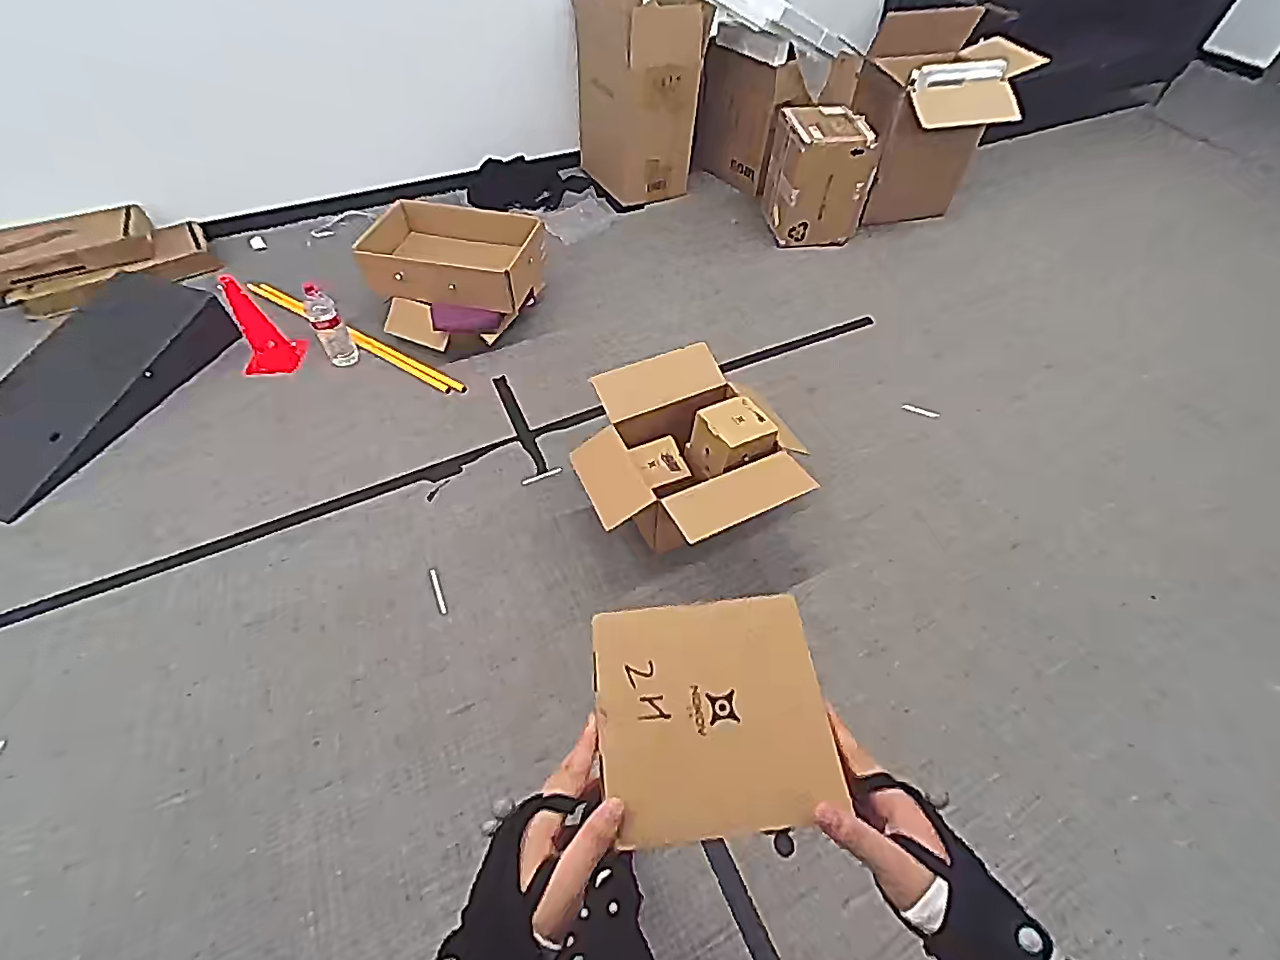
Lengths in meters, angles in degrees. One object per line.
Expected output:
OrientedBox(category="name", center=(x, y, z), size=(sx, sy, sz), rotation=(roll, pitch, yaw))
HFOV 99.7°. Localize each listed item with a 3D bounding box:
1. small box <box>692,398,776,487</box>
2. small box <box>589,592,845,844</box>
OrientedBox(category="small box", center=(0.266, -0.107, 1.588), size=(0.179, 0.176, 0.168), rotation=(-21, 55, -20))
OrientedBox(category="small box", center=(0.050, 0.213, 0.481), size=(0.179, 0.176, 0.168), rotation=(-6, 57, -4))
